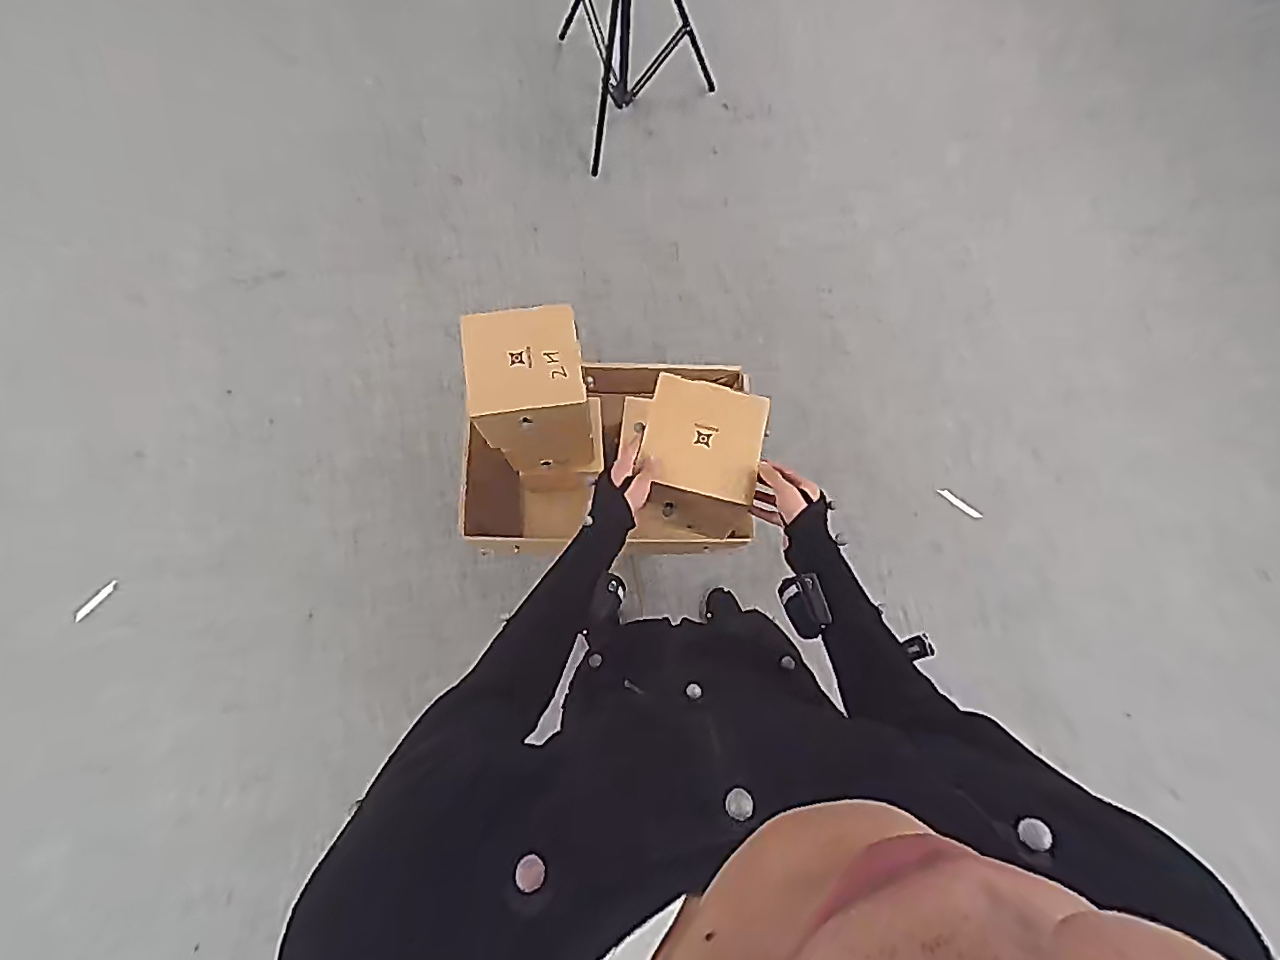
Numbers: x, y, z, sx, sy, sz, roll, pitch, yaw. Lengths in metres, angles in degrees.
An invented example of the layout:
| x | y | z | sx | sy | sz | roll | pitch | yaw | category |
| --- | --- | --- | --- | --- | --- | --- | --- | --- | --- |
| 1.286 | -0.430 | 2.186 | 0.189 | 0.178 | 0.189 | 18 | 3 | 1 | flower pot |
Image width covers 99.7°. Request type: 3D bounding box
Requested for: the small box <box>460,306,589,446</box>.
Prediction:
| x | y | z | sx | sy | sz | roll | pitch | yaw | category |
| --- | --- | --- | --- | --- | --- | --- | --- | --- | --- |
| -0.182 | -0.162 | 0.887 | 0.179 | 0.176 | 0.168 | -8 | 78 | -6 | small box |

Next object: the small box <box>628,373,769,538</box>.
| x | y | z | sx | sy | sz | roll | pitch | yaw | category |
| --- | --- | --- | --- | --- | --- | --- | --- | --- | --- |
| 0.081 | -0.028 | 0.818 | 0.168 | 0.176 | 0.179 | 15 | 67 | 0 | small box |

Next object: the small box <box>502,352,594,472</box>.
| x | y | z | sx | sy | sz | roll | pitch | yaw | category |
| --- | --- | --- | --- | --- | --- | --- | --- | --- | --- |
| -0.181 | -0.128 | 1.047 | 0.168 | 0.176 | 0.179 | -8 | 78 | -6 | small box |
